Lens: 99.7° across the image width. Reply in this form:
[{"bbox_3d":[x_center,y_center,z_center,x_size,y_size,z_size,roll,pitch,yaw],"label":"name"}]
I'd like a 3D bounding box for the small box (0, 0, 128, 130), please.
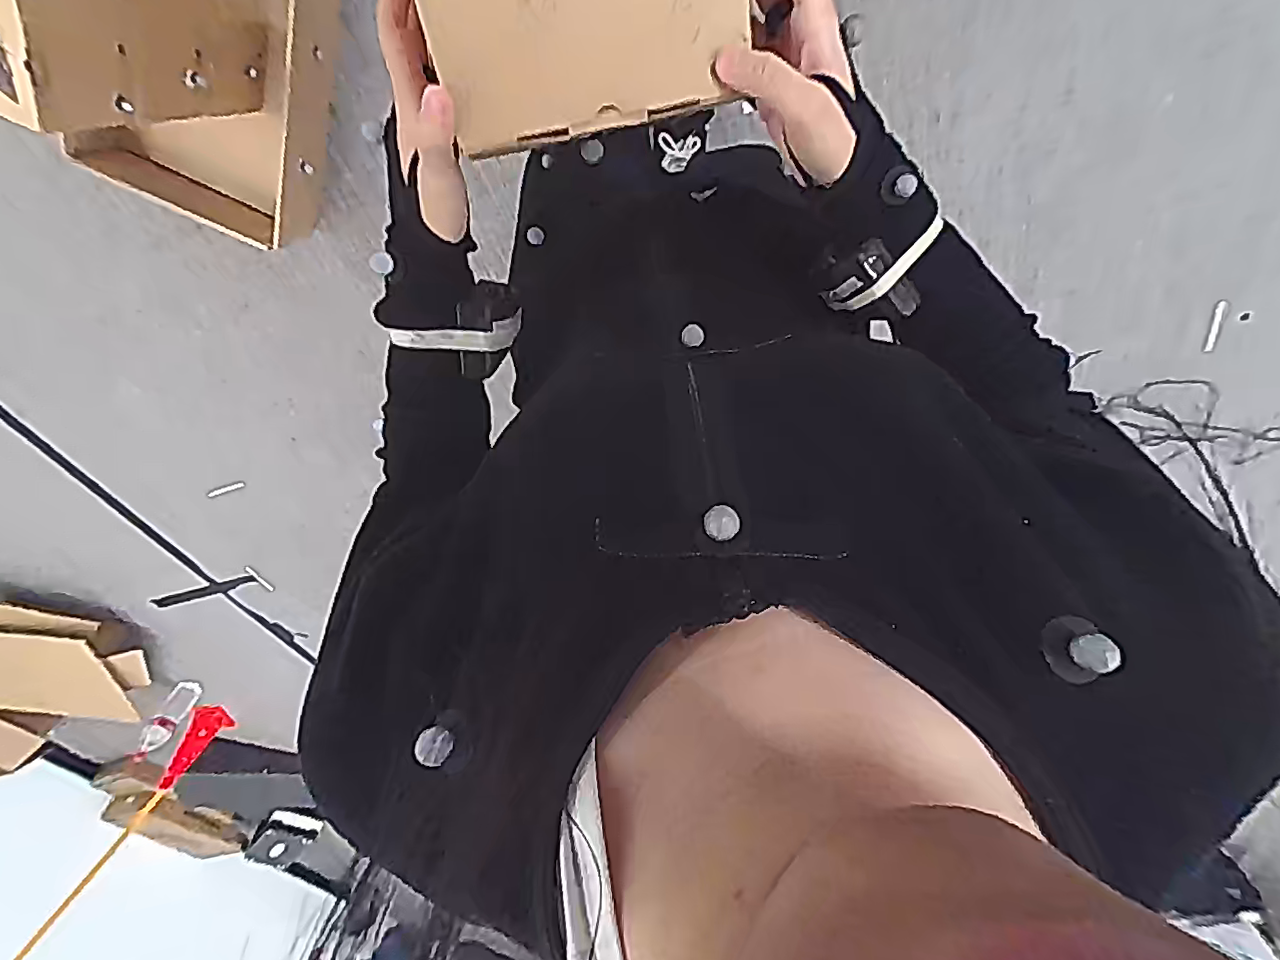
[{"bbox_3d":[-0.842,-0.610,0.726,0.179,0.176,0.168,24,125,-14],"label":"small box"}]

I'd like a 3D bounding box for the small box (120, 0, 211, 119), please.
[{"bbox_3d":[-0.832,-0.710,0.856,0.179,0.176,0.168,23,126,-16],"label":"small box"}]

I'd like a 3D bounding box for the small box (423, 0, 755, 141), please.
[{"bbox_3d":[-0.045,-0.312,0.311,0.168,0.176,0.179,-15,123,-5],"label":"small box"}]

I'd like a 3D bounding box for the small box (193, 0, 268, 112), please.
[{"bbox_3d":[-0.826,-0.808,0.986,0.179,0.176,0.168,25,125,-16],"label":"small box"}]
